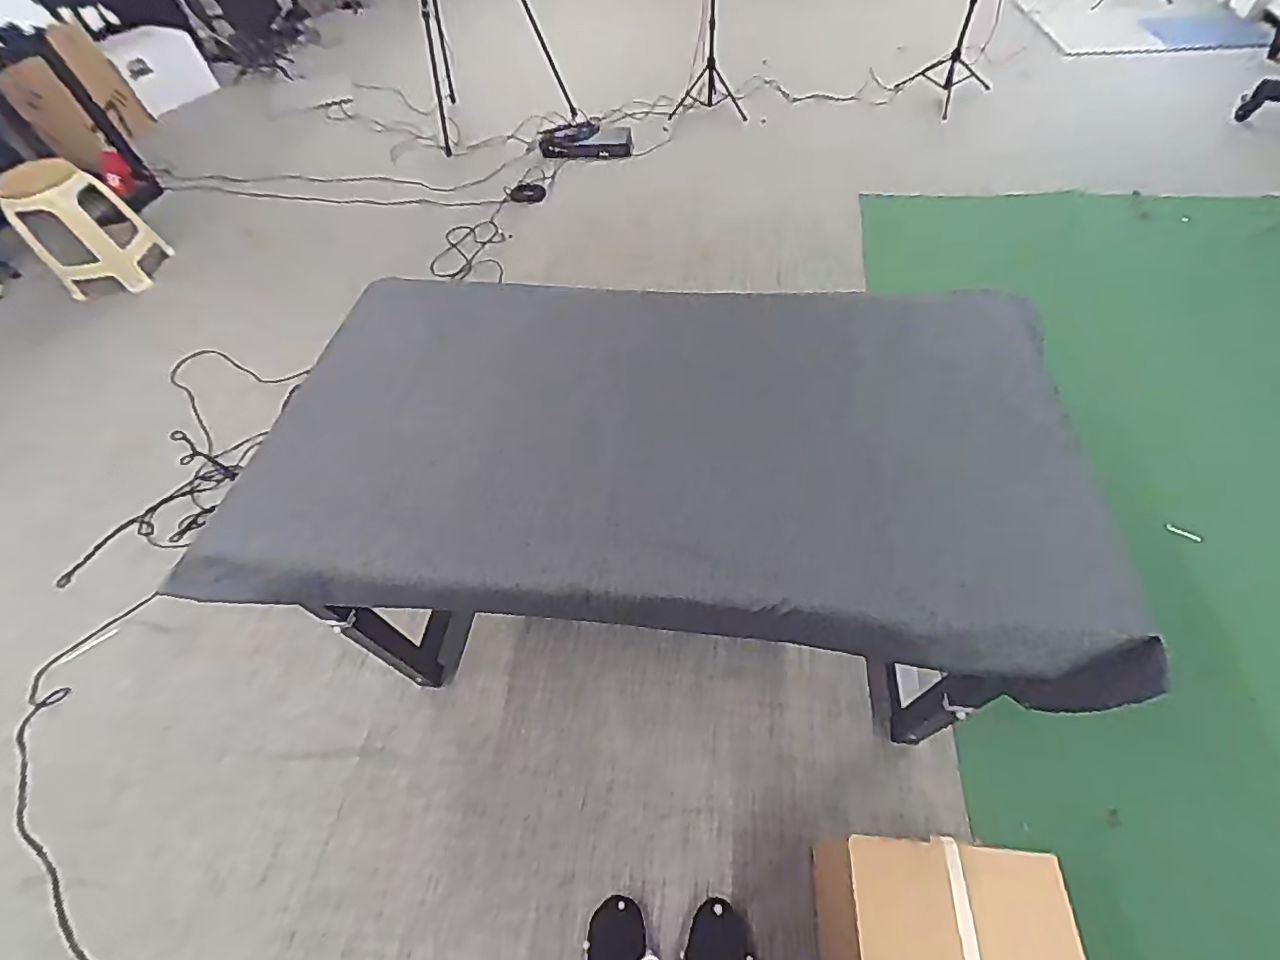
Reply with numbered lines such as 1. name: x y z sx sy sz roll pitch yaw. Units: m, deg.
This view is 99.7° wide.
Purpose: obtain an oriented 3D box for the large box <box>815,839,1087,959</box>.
1. large box: 0.480 0.818 0.850 0.320 0.320 0.408 1 54 7
